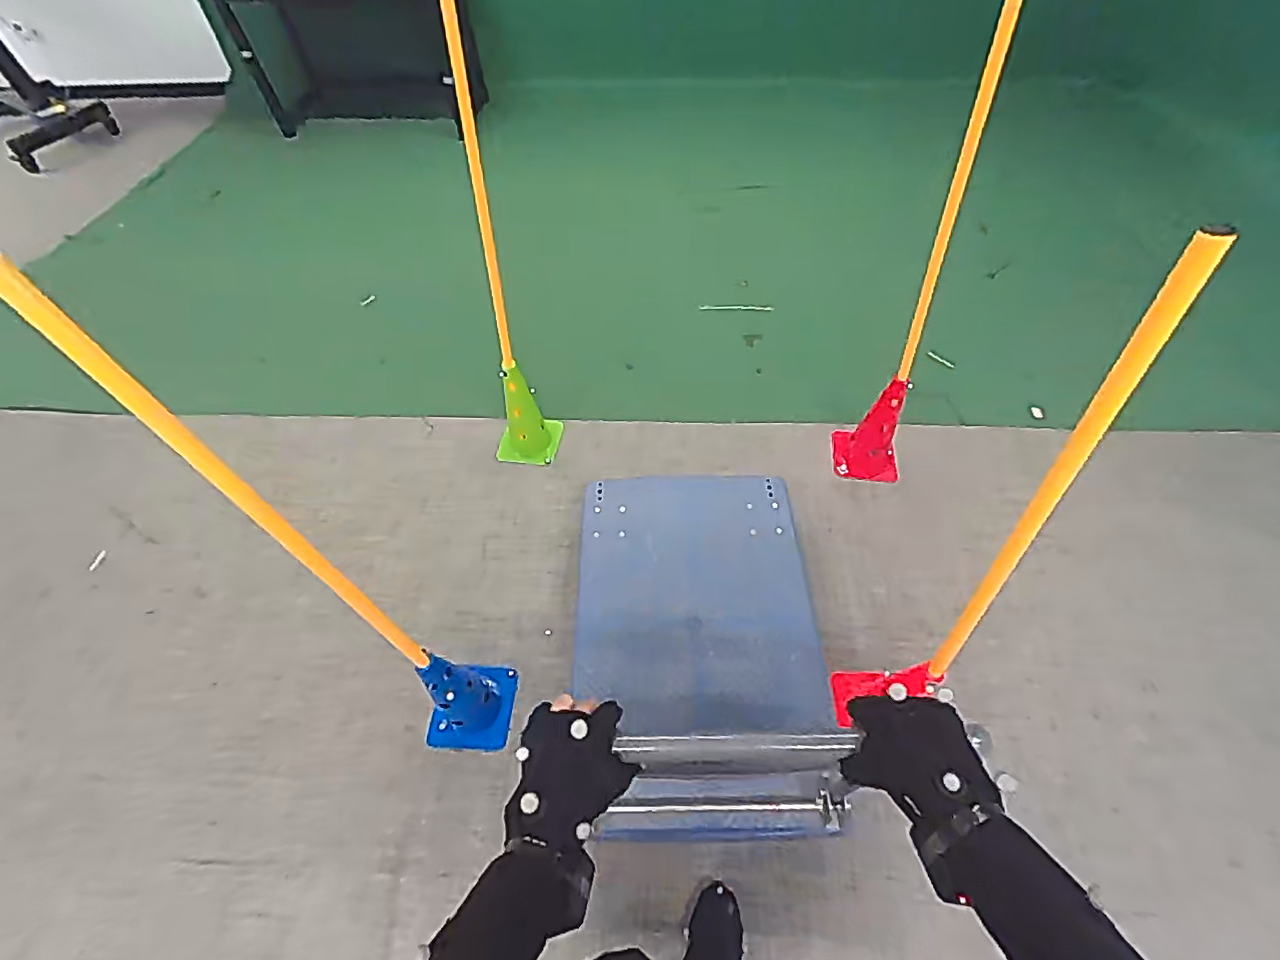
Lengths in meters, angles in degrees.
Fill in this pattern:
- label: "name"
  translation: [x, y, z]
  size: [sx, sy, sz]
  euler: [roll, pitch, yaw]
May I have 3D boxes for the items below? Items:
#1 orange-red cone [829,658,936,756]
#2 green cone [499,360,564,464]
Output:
- label: "orange-red cone"
  translation: [0.575, 0.477, 1.211]
  size: [0.199, 0.360, 0.198]
  euler: [0, 54, 4]
- label: "green cone"
  translation: [-0.386, -0.241, 1.760]
  size: [0.202, 0.368, 0.200]
  euler: [5, 54, 6]
